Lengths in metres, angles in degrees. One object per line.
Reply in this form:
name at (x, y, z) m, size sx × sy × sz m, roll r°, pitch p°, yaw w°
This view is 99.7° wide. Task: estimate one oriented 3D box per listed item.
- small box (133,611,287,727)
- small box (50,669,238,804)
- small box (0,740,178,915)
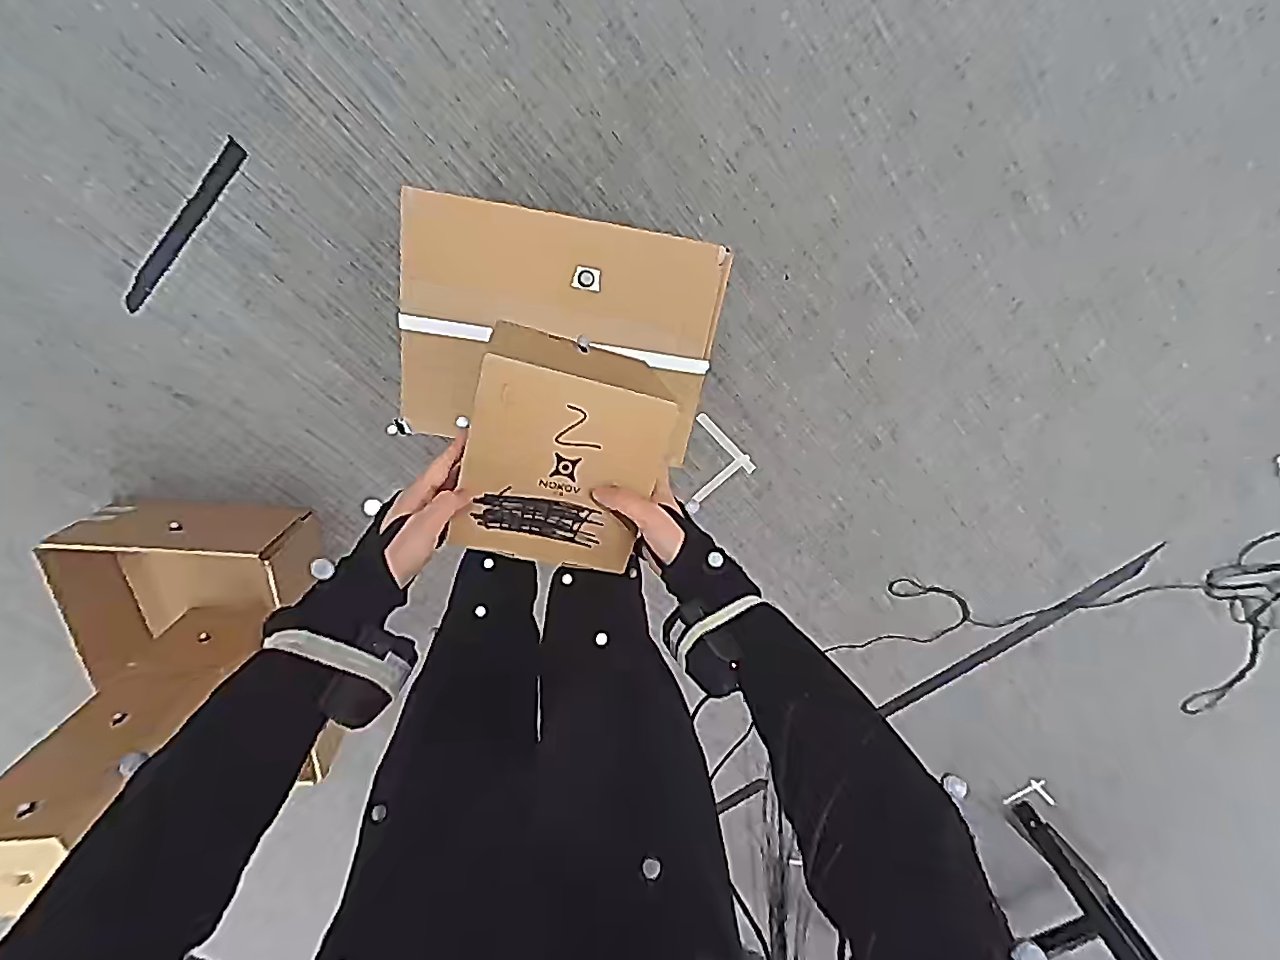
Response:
small box at (-0.890, 0.392, 1.137) m, size 0.179 × 0.176 × 0.168 m, roll 3°, pitch 115°, yaw -5°
small box at (-0.884, 0.465, 0.993) m, size 0.179 × 0.176 × 0.168 m, roll -1°, pitch 114°, yaw -2°
small box at (-0.874, 0.530, 0.840) m, size 0.179 × 0.176 × 0.168 m, roll -2°, pitch 113°, yaw -3°
